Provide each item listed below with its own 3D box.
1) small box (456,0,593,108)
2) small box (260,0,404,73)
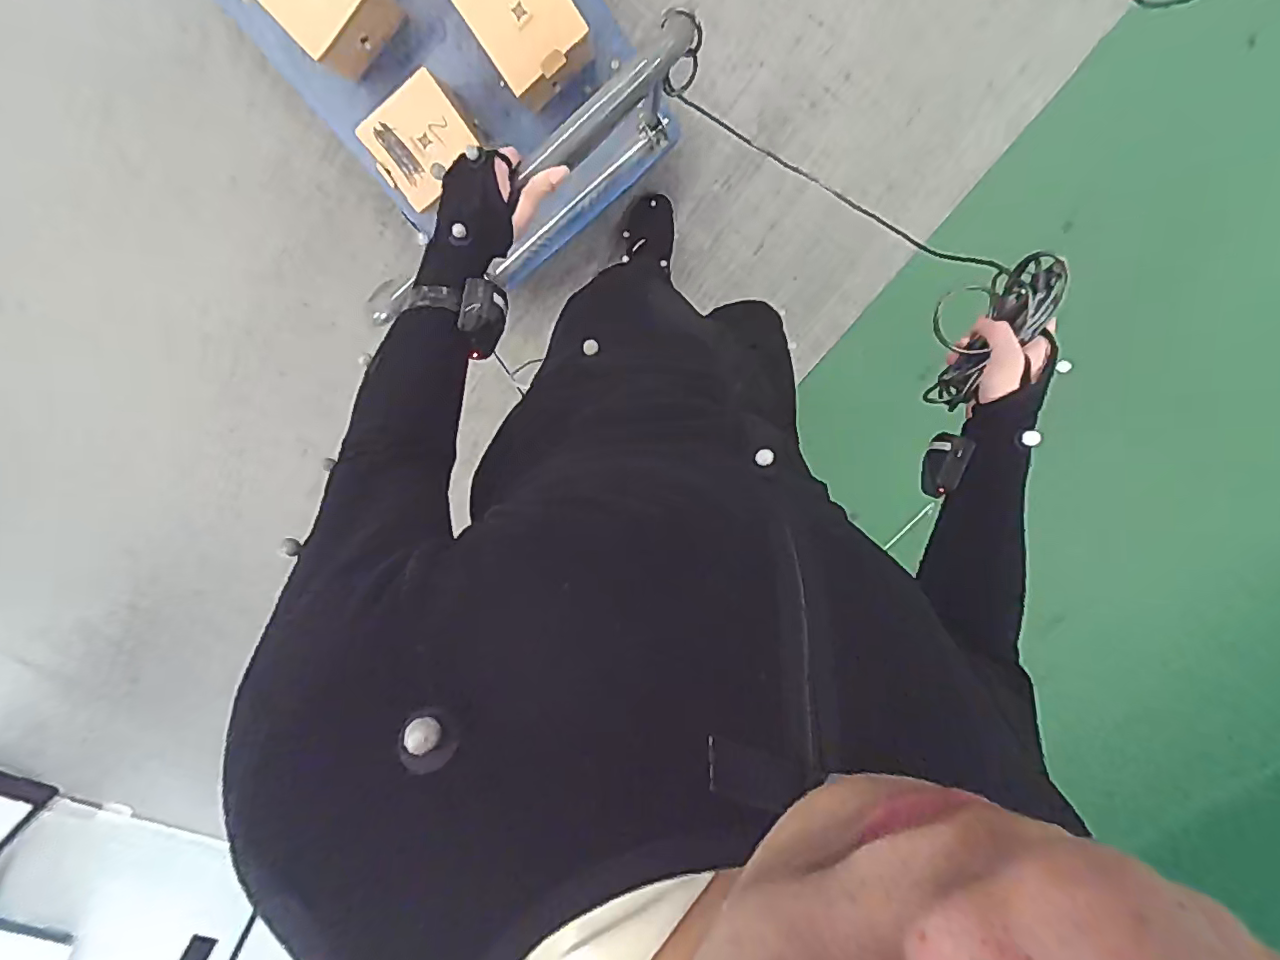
[{"bbox_3d":[-0.200,-0.818,0.979,0.168,0.176,0.179,-34,114,14],"label":"small box"},{"bbox_3d":[-0.550,-0.855,0.943,0.168,0.176,0.179,-39,112,15],"label":"small box"}]
